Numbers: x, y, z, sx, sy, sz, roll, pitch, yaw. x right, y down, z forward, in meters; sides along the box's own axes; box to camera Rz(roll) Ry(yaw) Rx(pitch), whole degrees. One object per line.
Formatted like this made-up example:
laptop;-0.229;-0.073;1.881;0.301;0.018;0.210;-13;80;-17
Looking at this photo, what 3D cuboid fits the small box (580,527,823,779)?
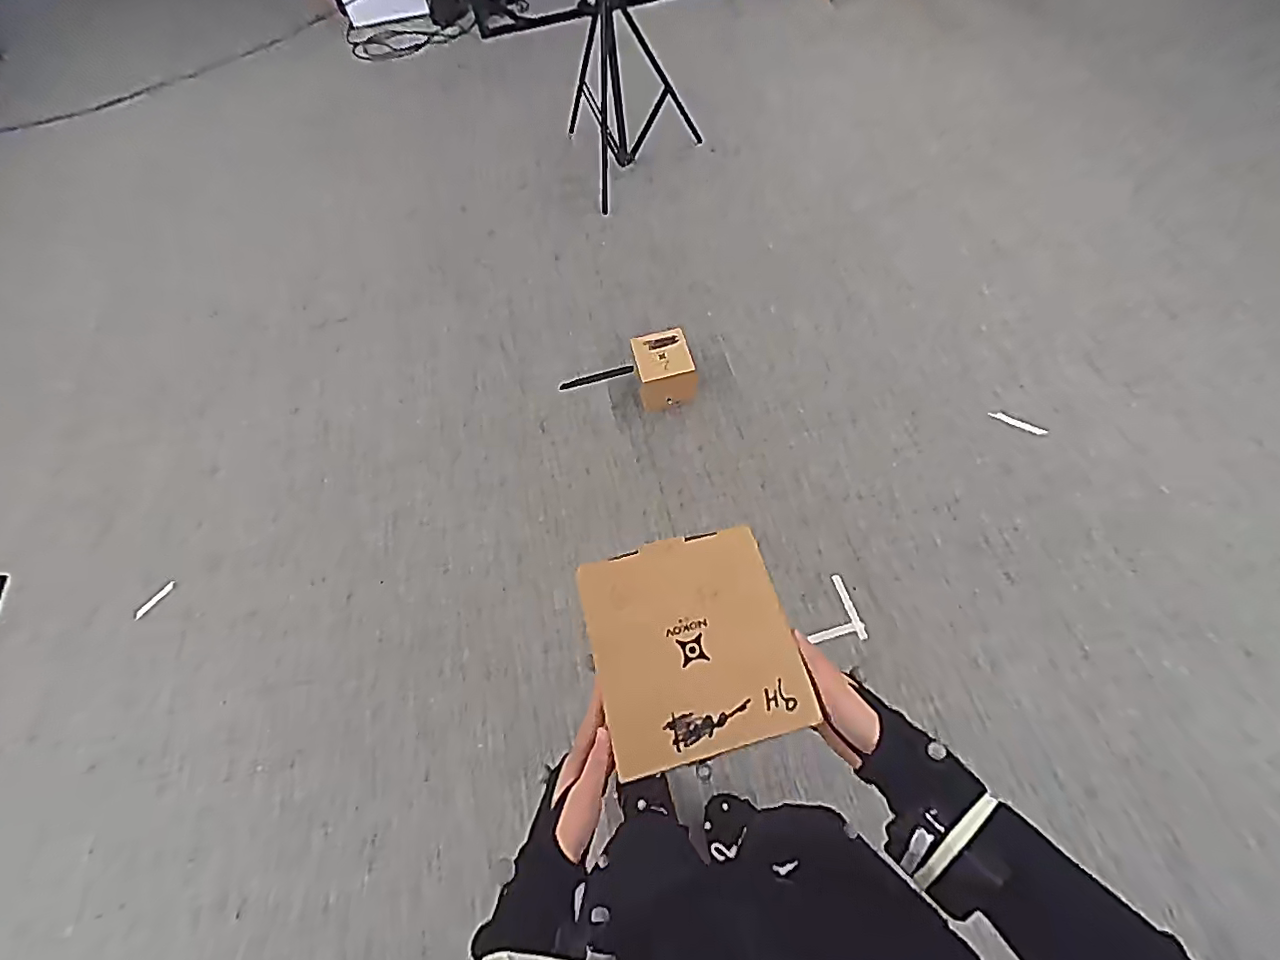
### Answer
small box;0.045;0.171;0.517;0.168;0.176;0.179;-14;62;-5
